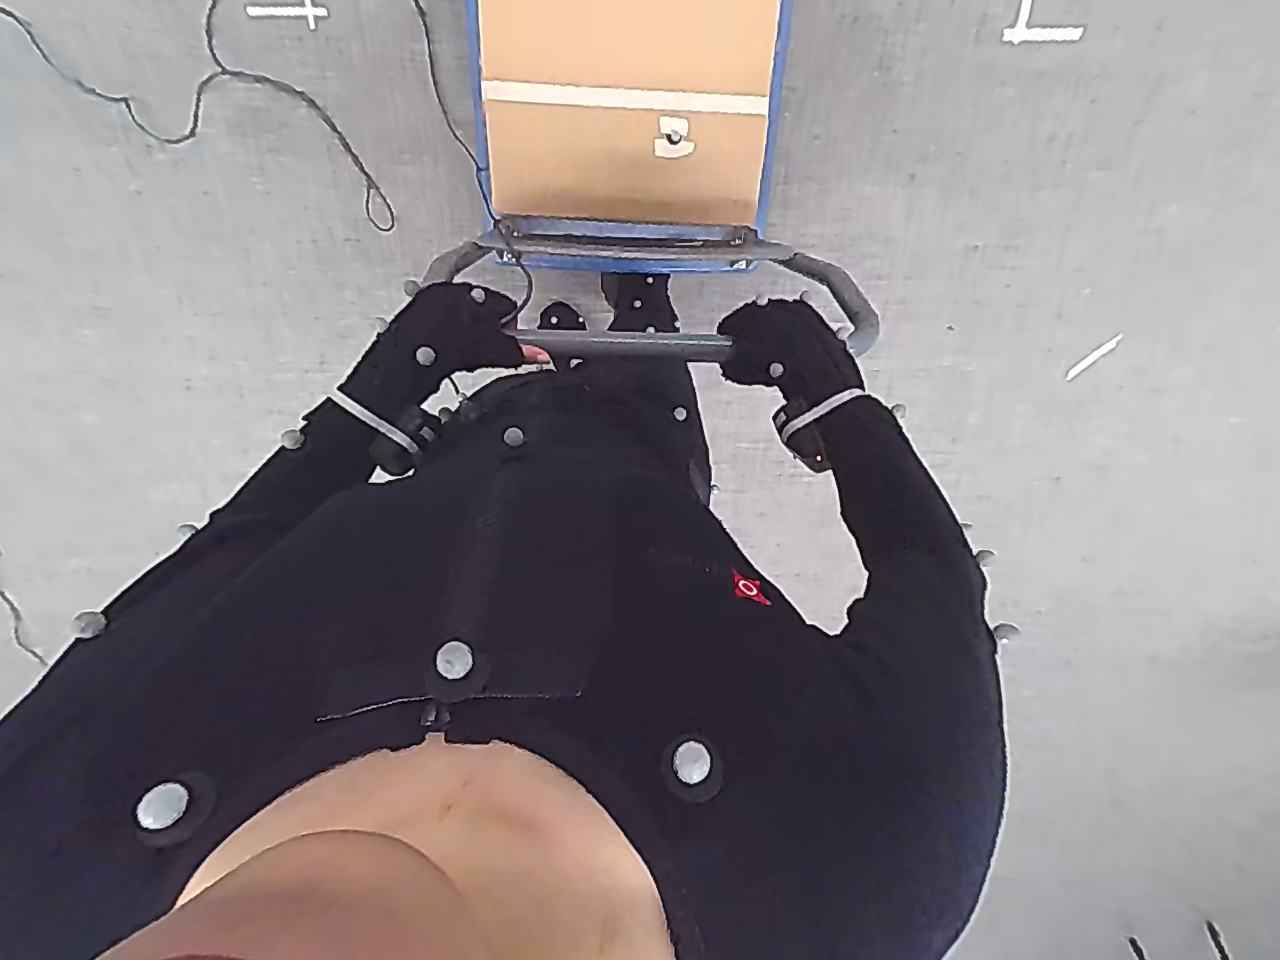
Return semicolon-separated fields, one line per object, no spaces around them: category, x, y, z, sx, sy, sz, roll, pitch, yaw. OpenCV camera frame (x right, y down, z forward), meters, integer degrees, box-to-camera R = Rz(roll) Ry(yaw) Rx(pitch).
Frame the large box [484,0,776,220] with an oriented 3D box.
large box;-0.026;-0.616;0.914;0.408;0.320;0.320;0;116;-5
